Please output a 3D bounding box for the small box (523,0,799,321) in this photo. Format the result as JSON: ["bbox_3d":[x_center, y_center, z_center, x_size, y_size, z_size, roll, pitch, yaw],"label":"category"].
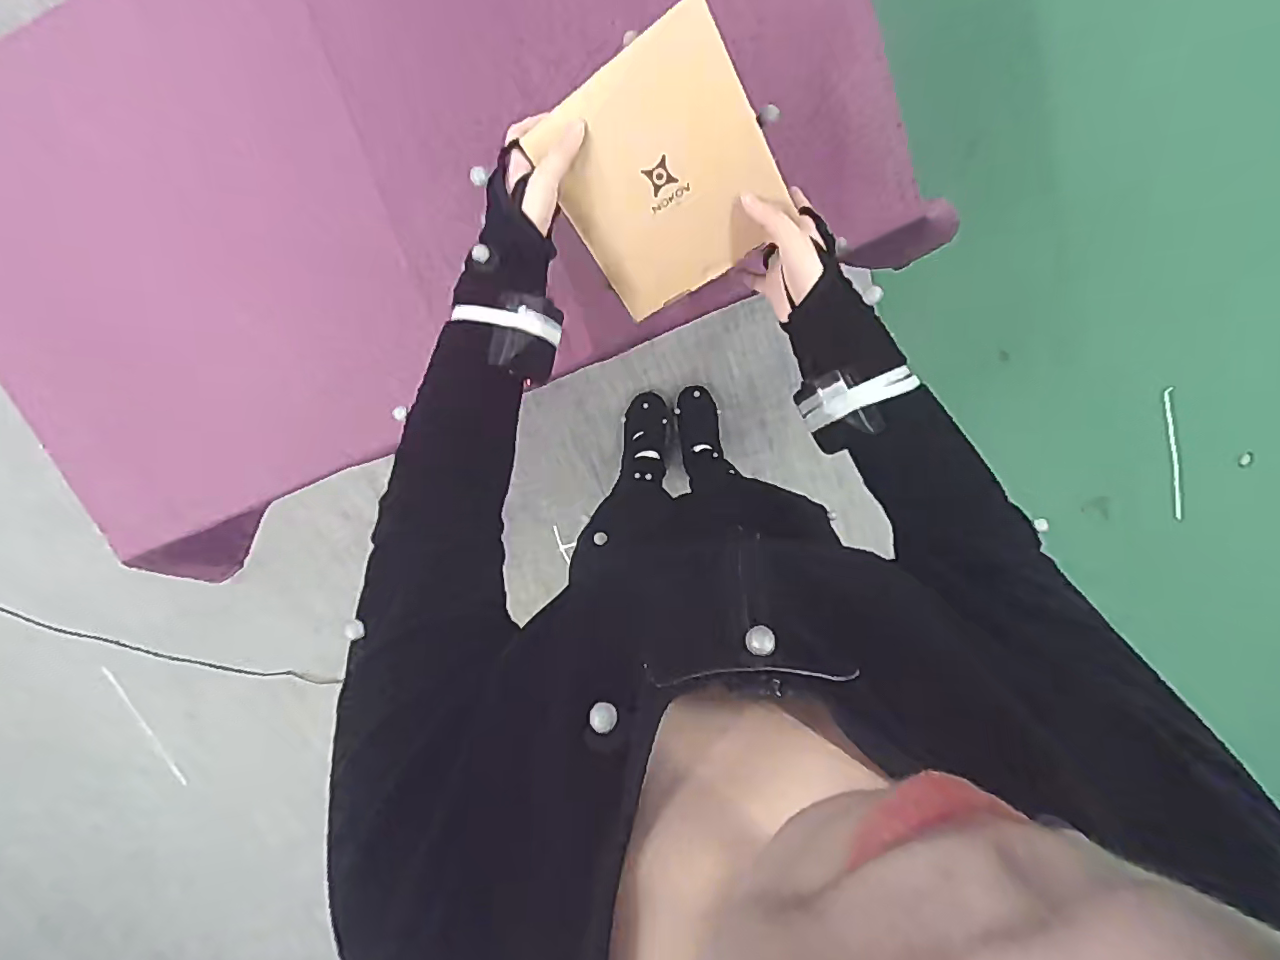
[{"bbox_3d":[0.026,-0.286,0.500,0.168,0.176,0.179,-25,121,25],"label":"small box"}]
